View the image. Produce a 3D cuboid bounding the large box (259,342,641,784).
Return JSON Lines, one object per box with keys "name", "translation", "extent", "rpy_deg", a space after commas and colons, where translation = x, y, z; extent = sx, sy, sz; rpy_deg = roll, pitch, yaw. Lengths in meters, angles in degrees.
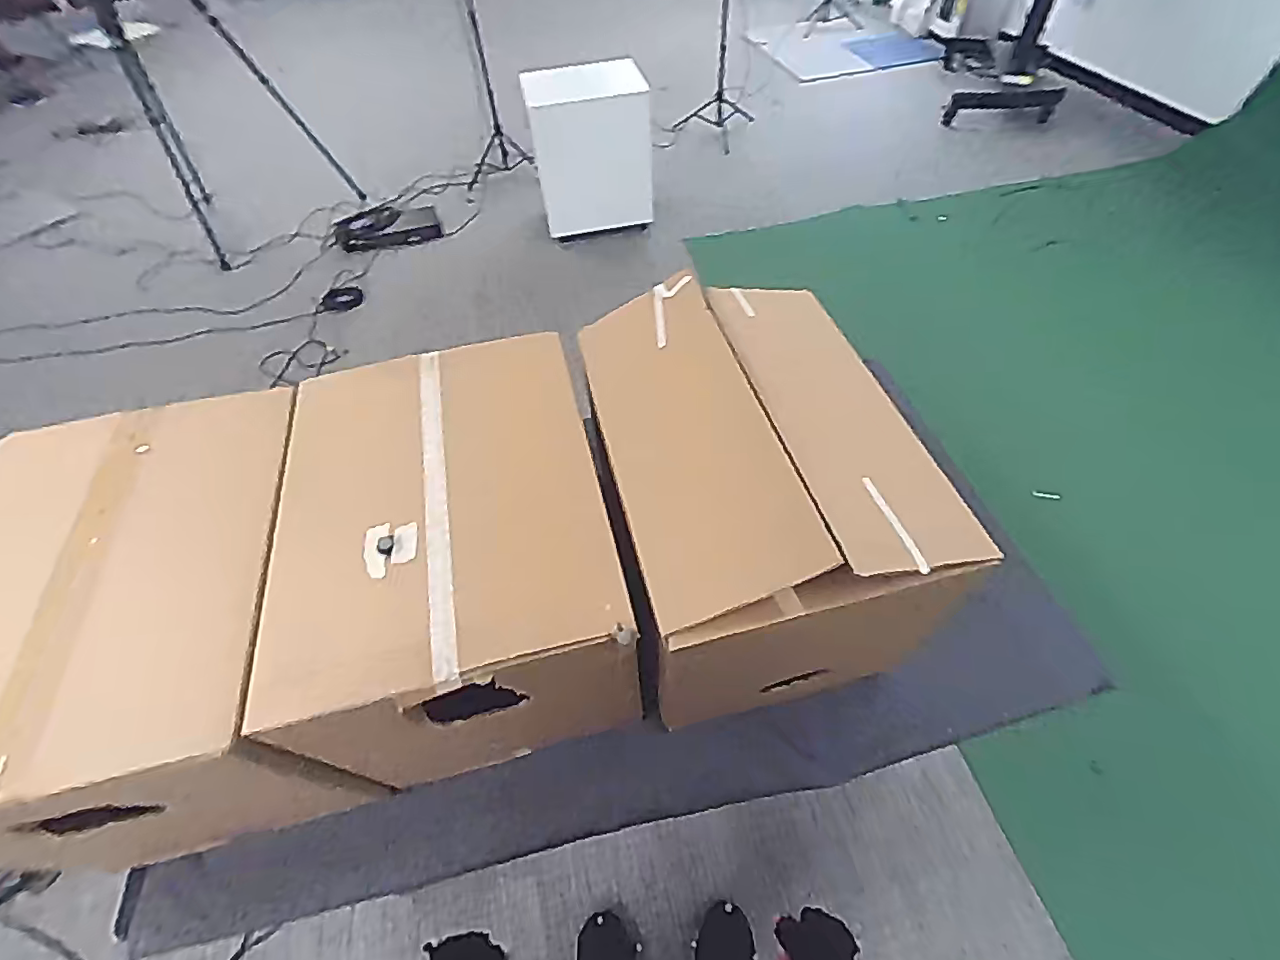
{"name": "large box", "translation": [-0.198, 0.097, 0.668], "extent": [0.320, 0.320, 0.408], "rpy_deg": [-14, 55, -7]}
